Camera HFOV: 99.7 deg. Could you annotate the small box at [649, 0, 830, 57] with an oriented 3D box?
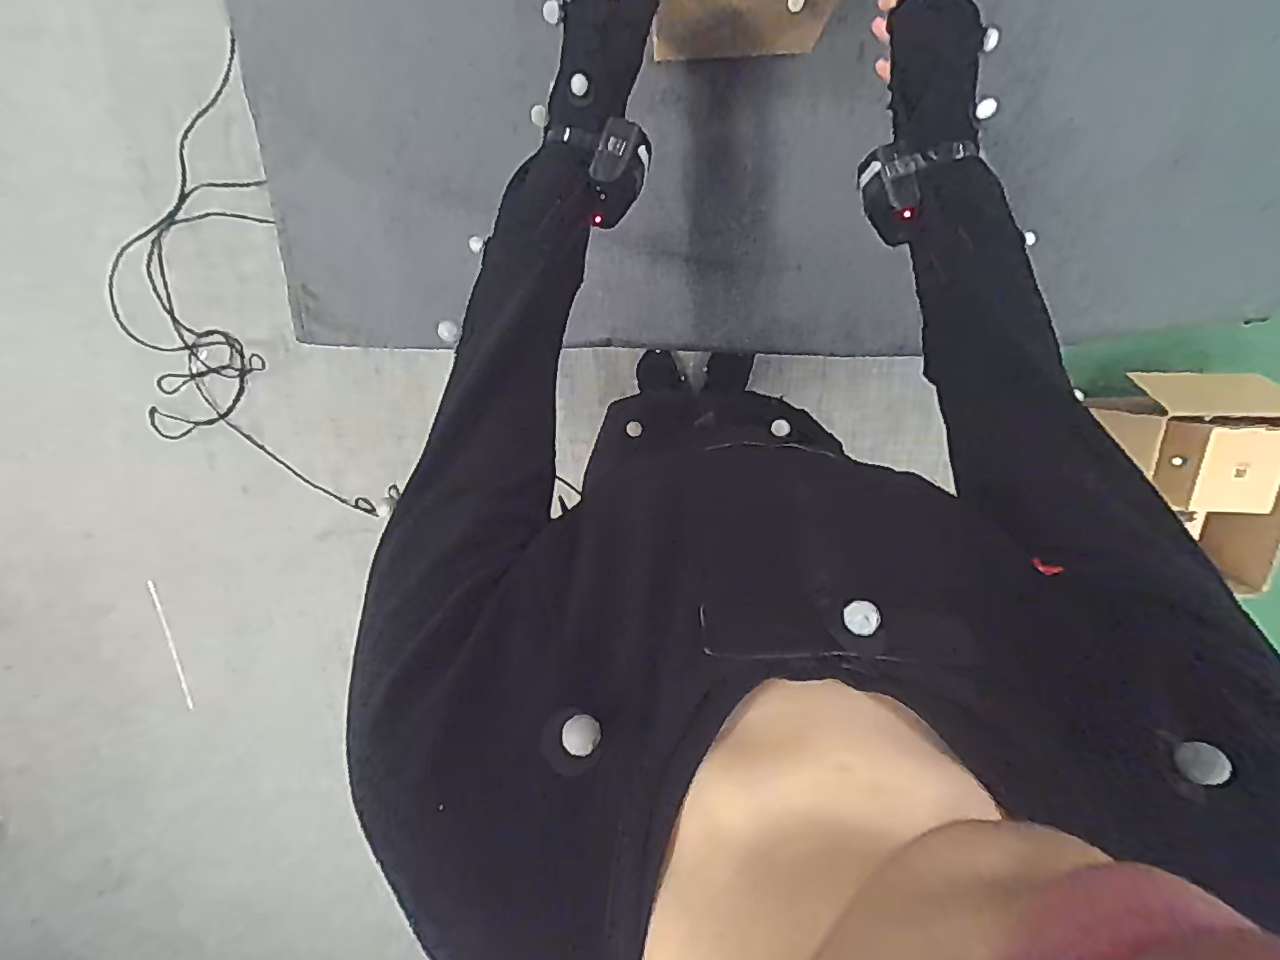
[{"bbox_3d":[0.094,-0.526,0.498,0.179,0.176,0.168,-1,106,3],"label":"small box"}]
